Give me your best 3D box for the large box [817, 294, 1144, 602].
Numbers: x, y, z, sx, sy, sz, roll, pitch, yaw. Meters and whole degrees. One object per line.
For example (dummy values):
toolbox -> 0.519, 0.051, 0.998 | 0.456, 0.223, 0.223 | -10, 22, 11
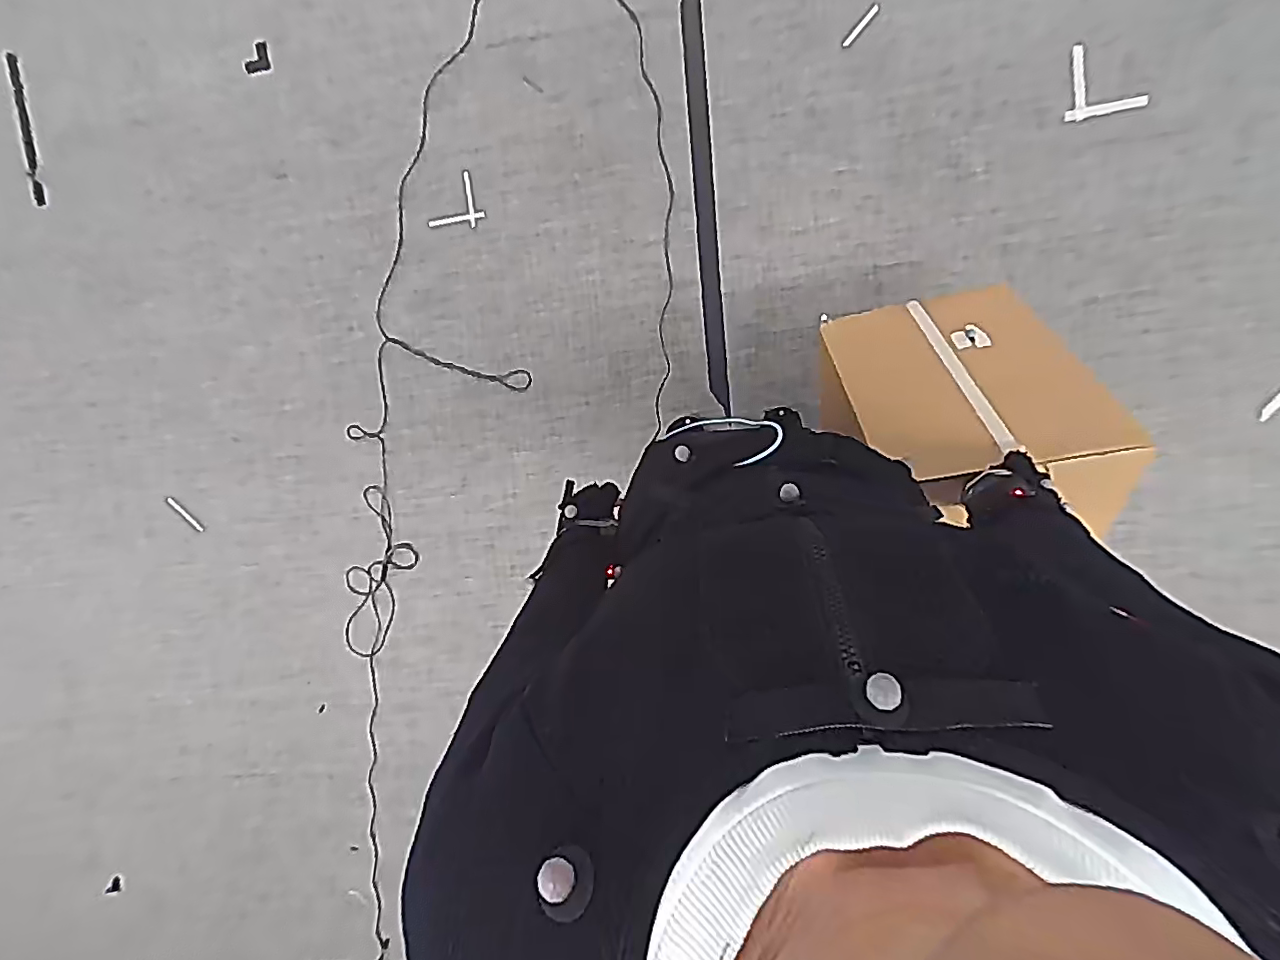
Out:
large box -> 0.513, -0.056, 0.931 | 0.320, 0.408, 0.320 | -10, 135, 9
